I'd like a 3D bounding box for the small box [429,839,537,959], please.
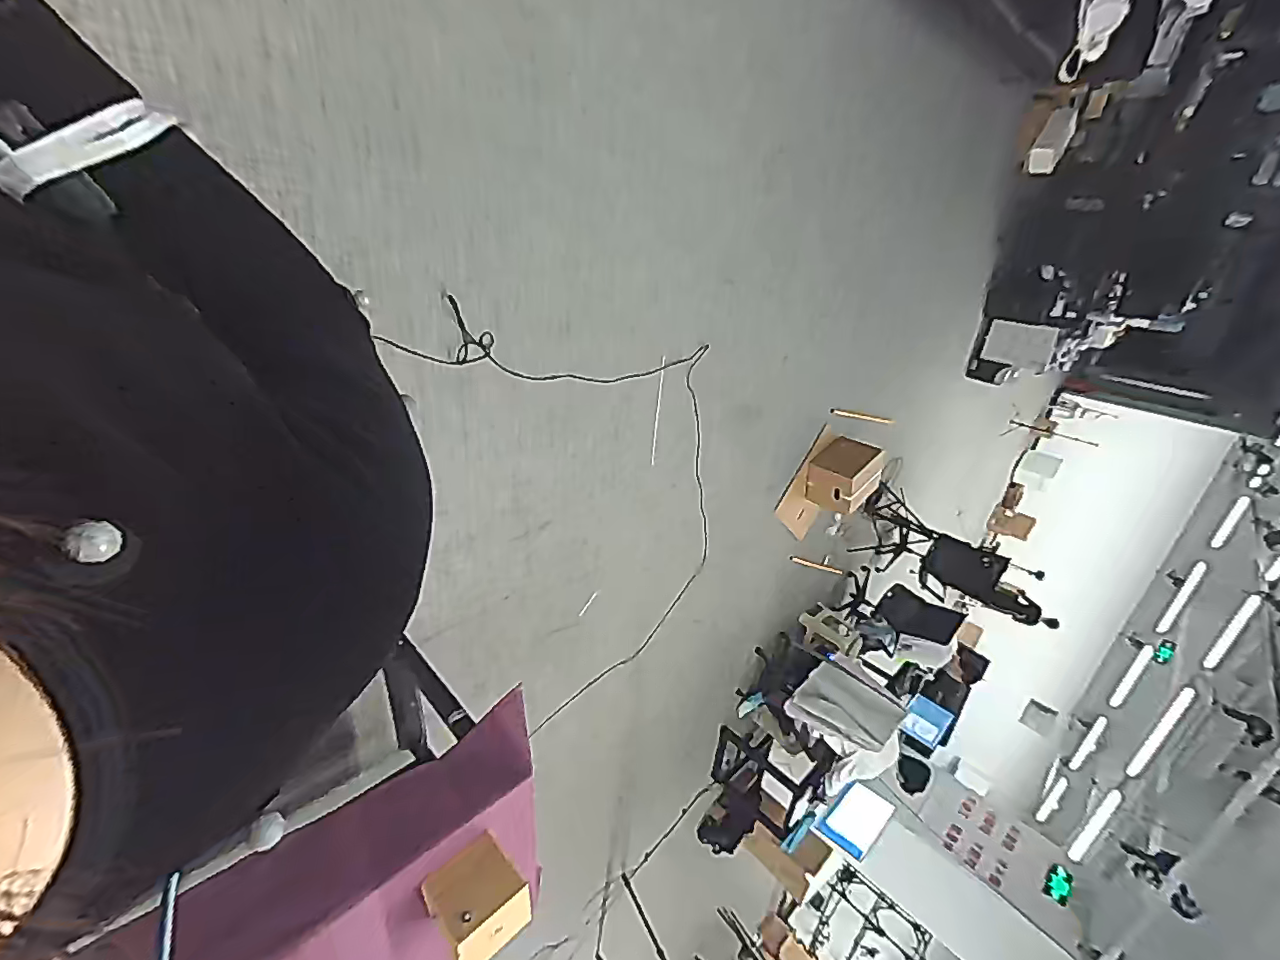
[{"bbox_3d":[-0.358,0.981,1.240,0.179,0.176,0.168,-22,126,-38],"label":"small box"}]
